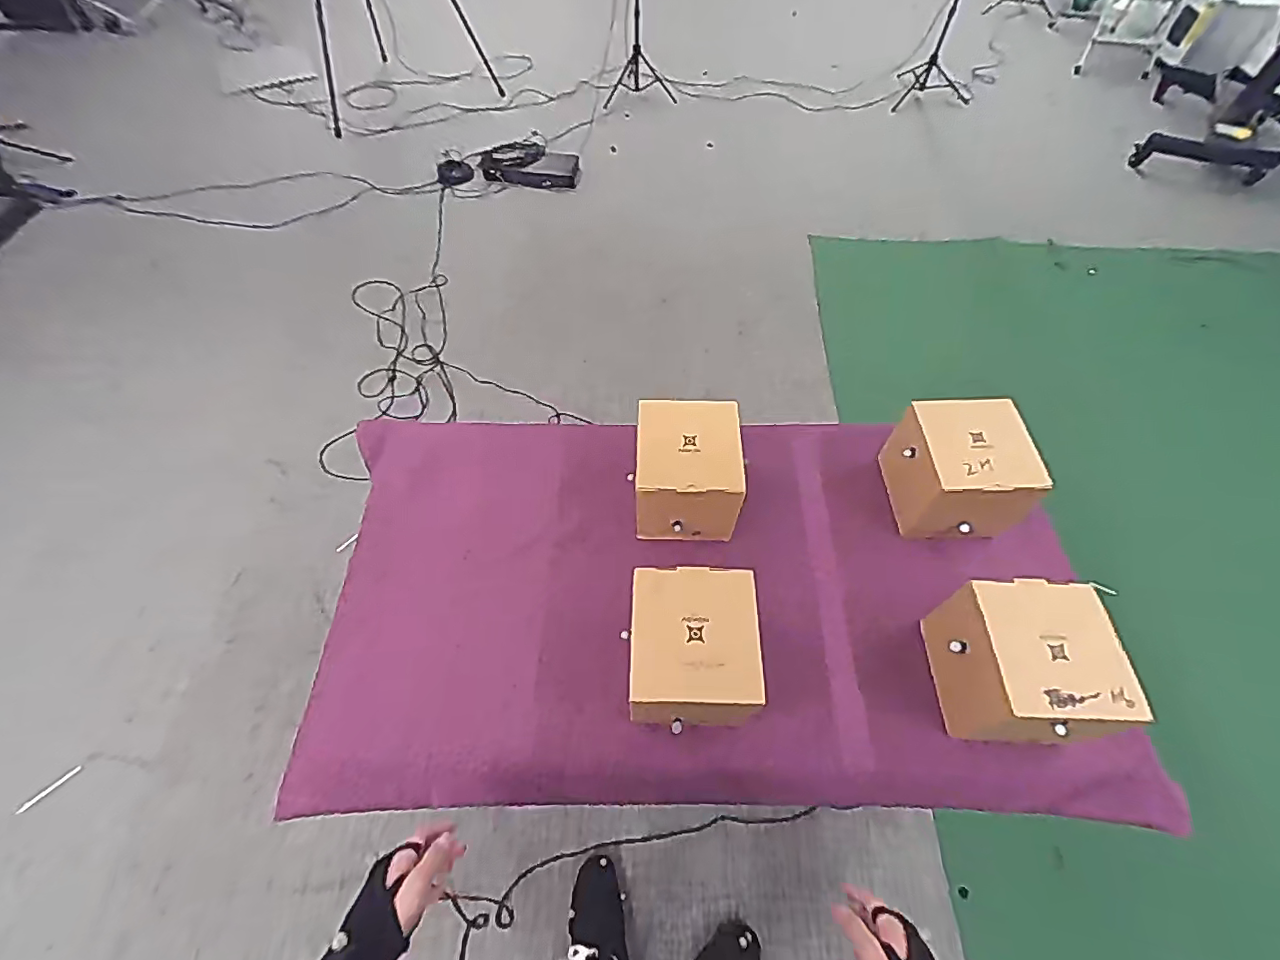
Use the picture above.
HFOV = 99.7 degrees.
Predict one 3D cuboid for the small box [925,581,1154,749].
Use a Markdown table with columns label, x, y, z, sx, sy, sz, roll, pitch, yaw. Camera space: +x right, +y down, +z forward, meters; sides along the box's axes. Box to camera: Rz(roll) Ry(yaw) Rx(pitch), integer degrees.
| label | x | y | z | sx | sy | sz | roll | pitch | yaw |
| --- | --- | --- | --- | --- | --- | --- | --- | --- | --- |
| small box | 0.525 | 0.258 | 0.748 | 0.168 | 0.176 | 0.179 | 2 | 55 | 2 |

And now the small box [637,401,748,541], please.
| label | x | y | z | sx | sy | sz | roll | pitch | yaw |
| --- | --- | --- | --- | --- | --- | --- | --- | --- | --- |
| small box | 0.080 | -0.012 | 0.918 | 0.168 | 0.176 | 0.179 | 1 | 59 | -1 |

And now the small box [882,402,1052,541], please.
| label | x | y | z | sx | sy | sz | roll | pitch | yaw |
| --- | --- | --- | --- | --- | --- | --- | --- | --- | --- |
| small box | 0.535 | -0.012 | 0.919 | 0.168 | 0.176 | 0.179 | -1 | 58 | 2 |
